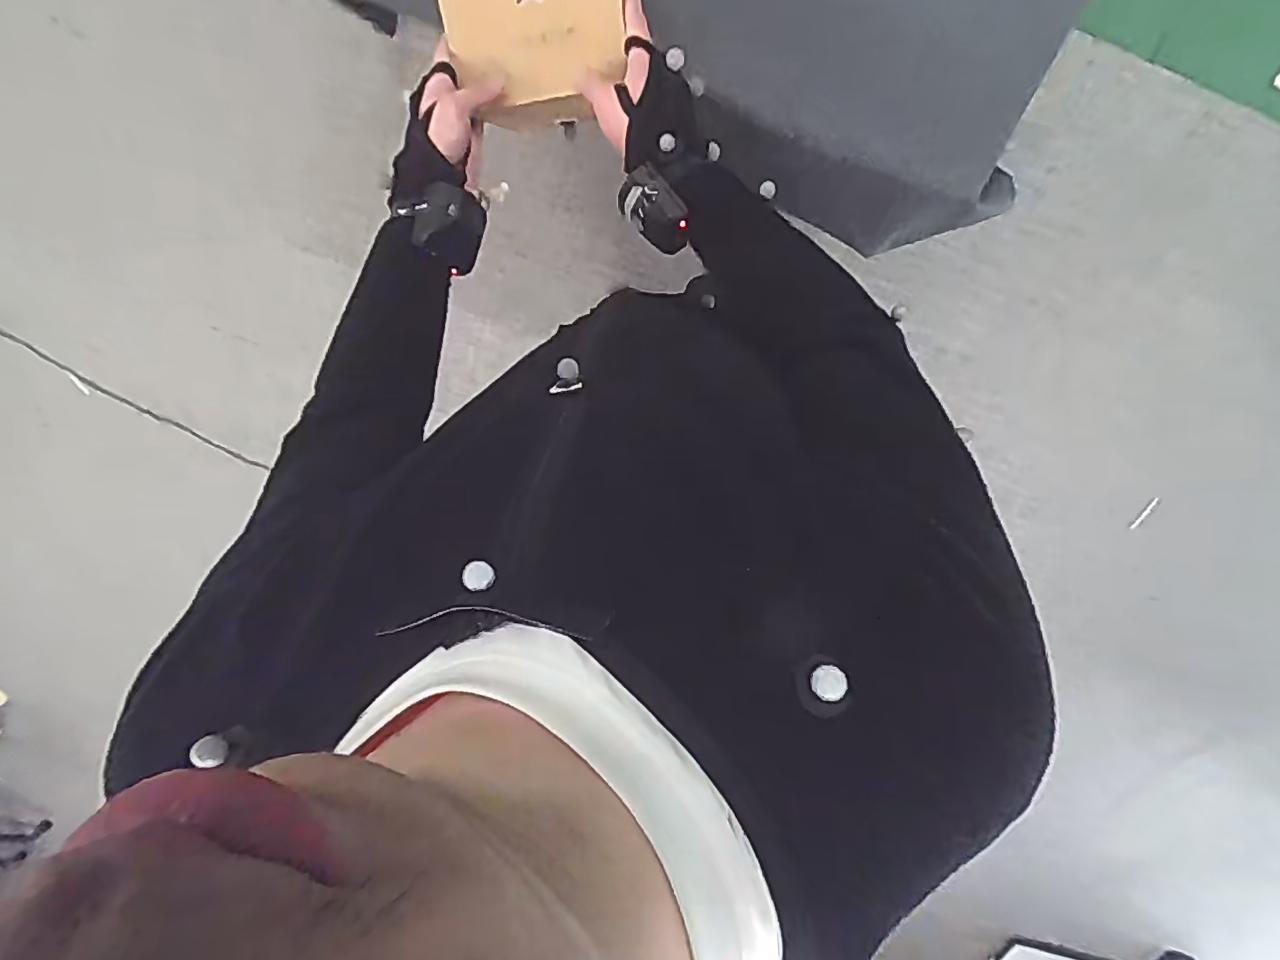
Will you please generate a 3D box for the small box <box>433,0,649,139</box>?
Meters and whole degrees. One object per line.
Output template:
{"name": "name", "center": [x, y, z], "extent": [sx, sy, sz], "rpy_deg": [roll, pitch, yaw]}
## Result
{"name": "small box", "center": [-0.087, -0.450, 0.524], "extent": [0.168, 0.176, 0.179], "rpy_deg": [-1, 116, 10]}
